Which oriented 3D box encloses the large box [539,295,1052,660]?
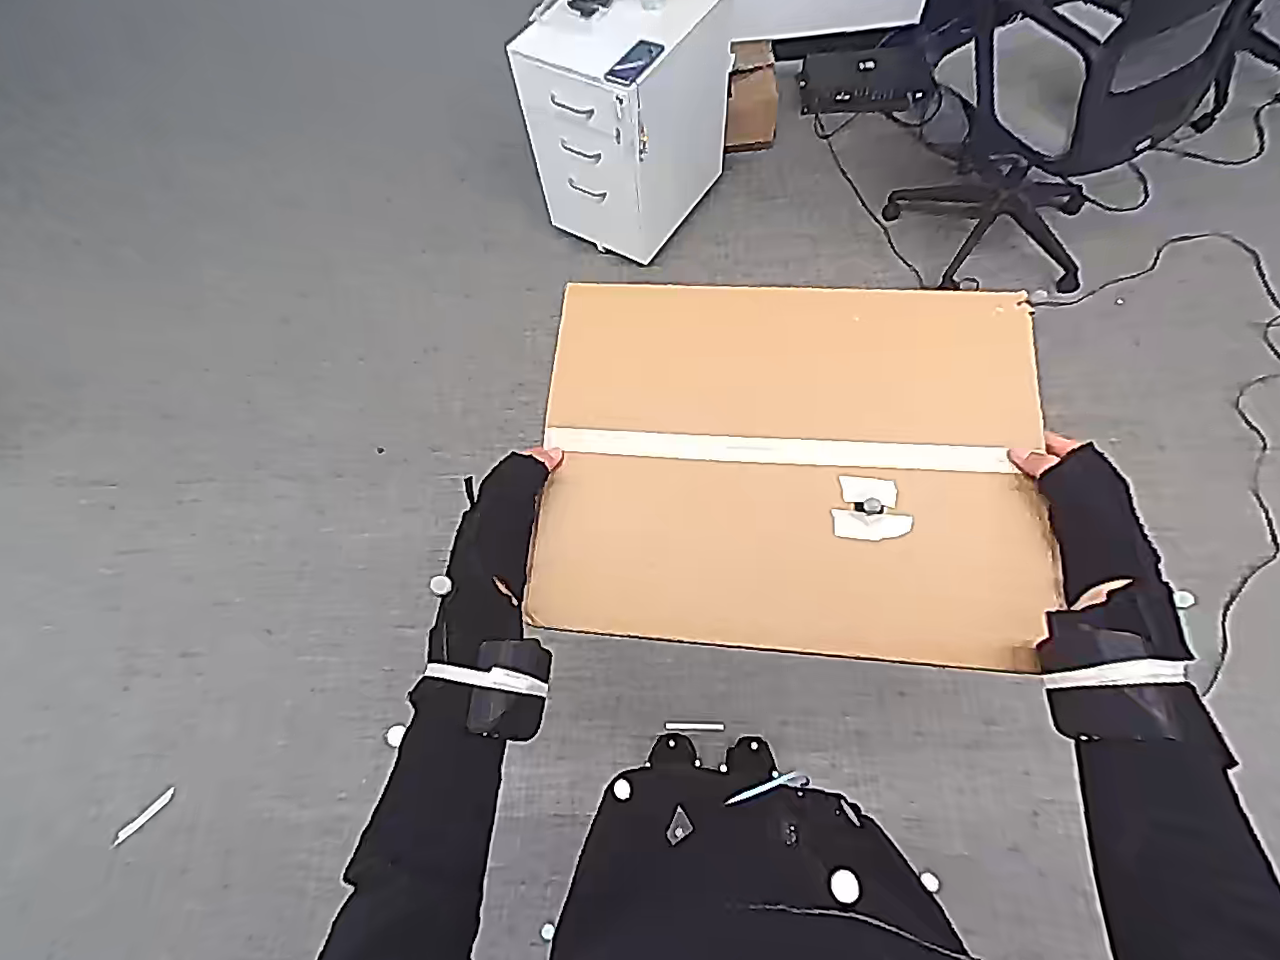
[{"bbox_3d":[0.133,0.019,0.603,0.408,0.320,0.320,4,76,6],"label":"large box"}]
